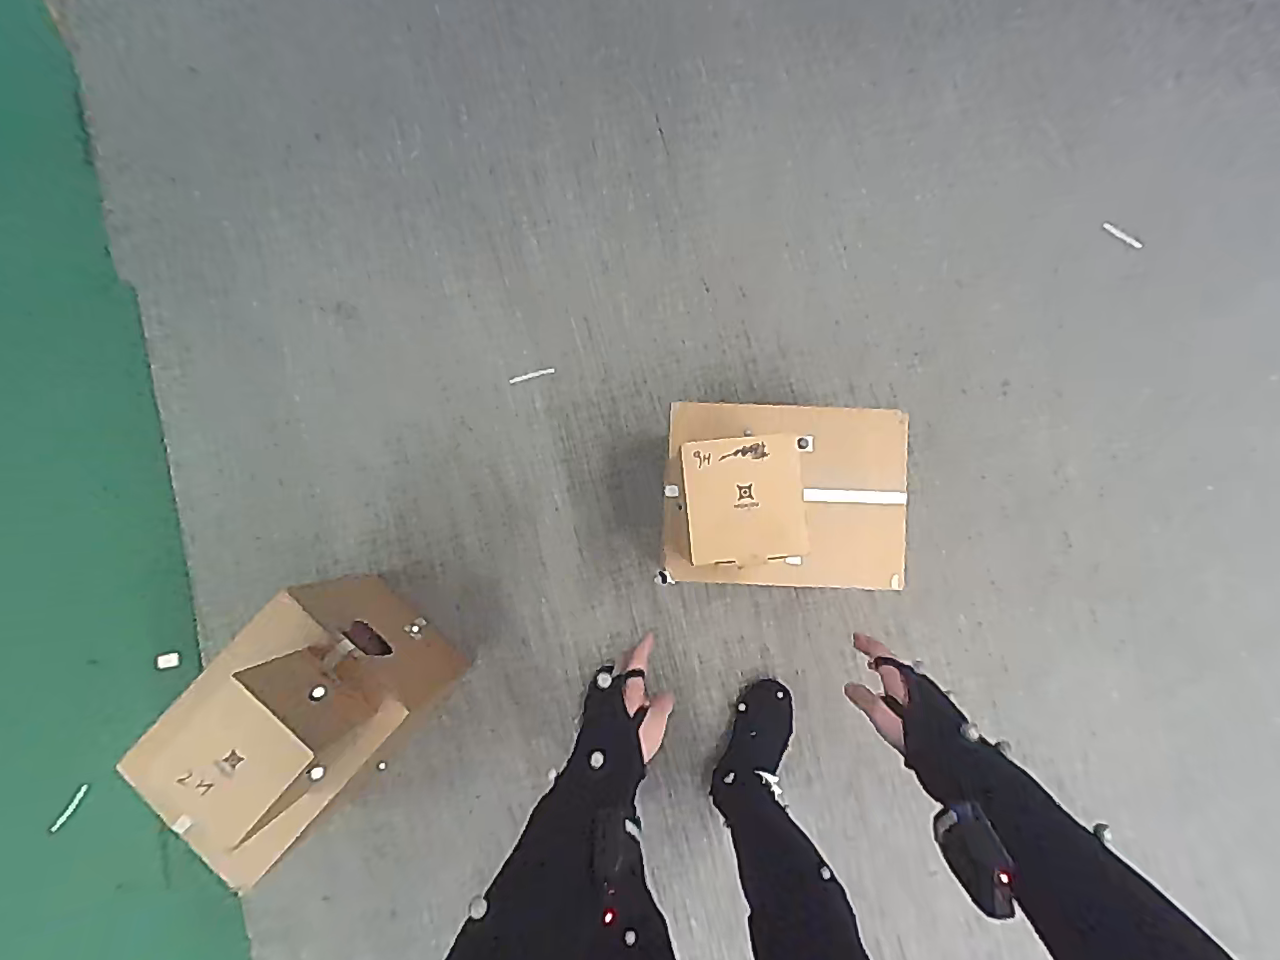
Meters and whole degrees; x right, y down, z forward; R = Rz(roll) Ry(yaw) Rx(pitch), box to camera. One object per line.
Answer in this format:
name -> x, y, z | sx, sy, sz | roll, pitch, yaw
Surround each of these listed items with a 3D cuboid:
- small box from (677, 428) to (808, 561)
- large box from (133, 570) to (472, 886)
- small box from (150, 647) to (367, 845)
small box -> 0.147, 0.023, 0.828 | 0.168, 0.176, 0.179 | -5, 86, 1
large box -> -0.613, 0.435, 1.058 | 0.320, 0.320, 0.408 | 41, 88, 6
small box -> -0.549, 0.380, 0.813 | 0.168, 0.176, 0.179 | 41, 87, 4
